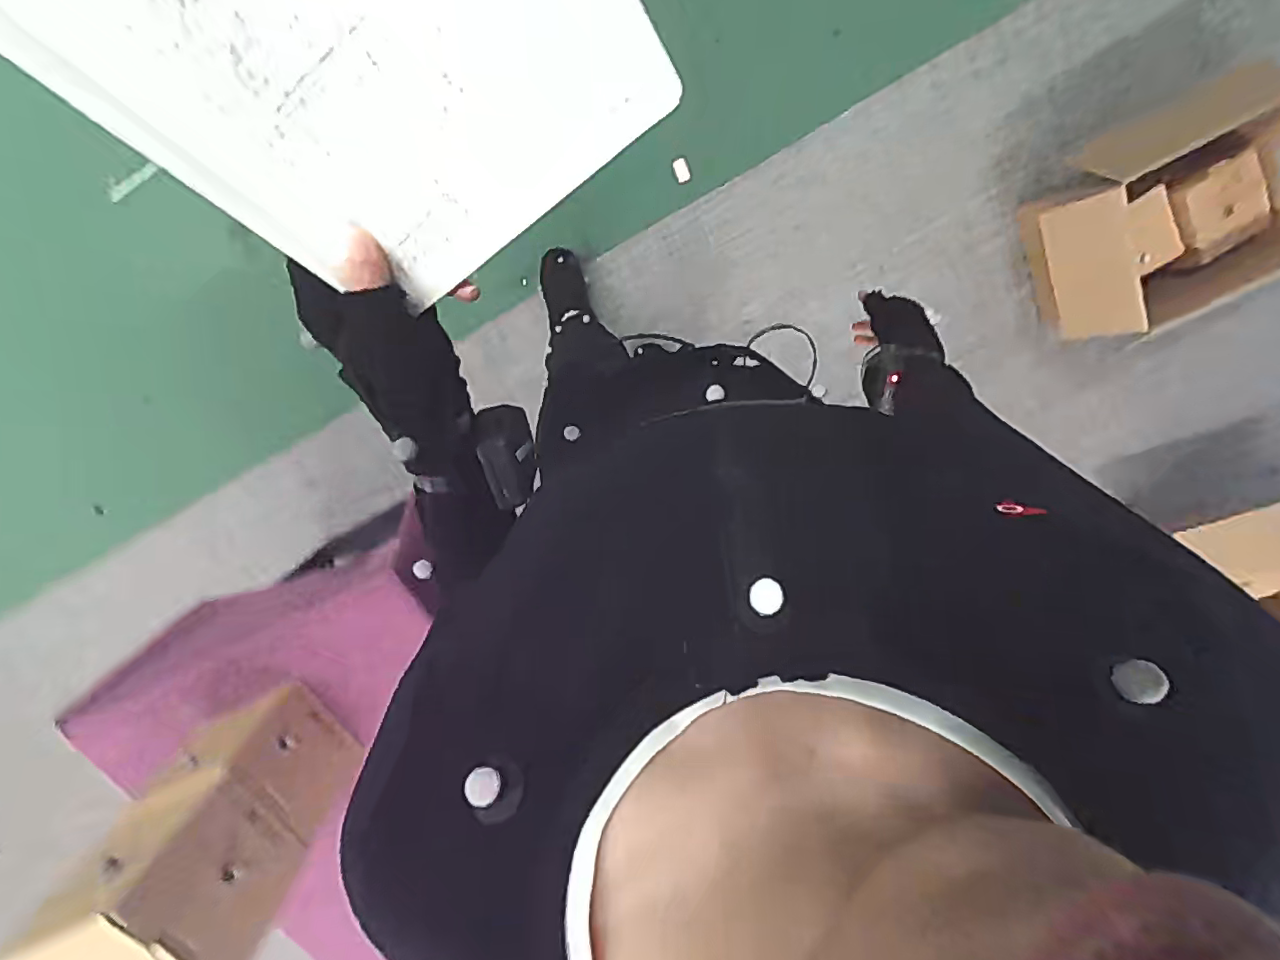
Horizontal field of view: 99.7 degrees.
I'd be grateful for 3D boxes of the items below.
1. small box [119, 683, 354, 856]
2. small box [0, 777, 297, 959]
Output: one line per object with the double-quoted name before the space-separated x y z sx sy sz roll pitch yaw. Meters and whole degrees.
"small box" -0.541 0.424 0.763 0.179 0.176 0.168 -27 107 7
"small box" -0.531 0.479 0.609 0.179 0.176 0.168 -27 106 6
